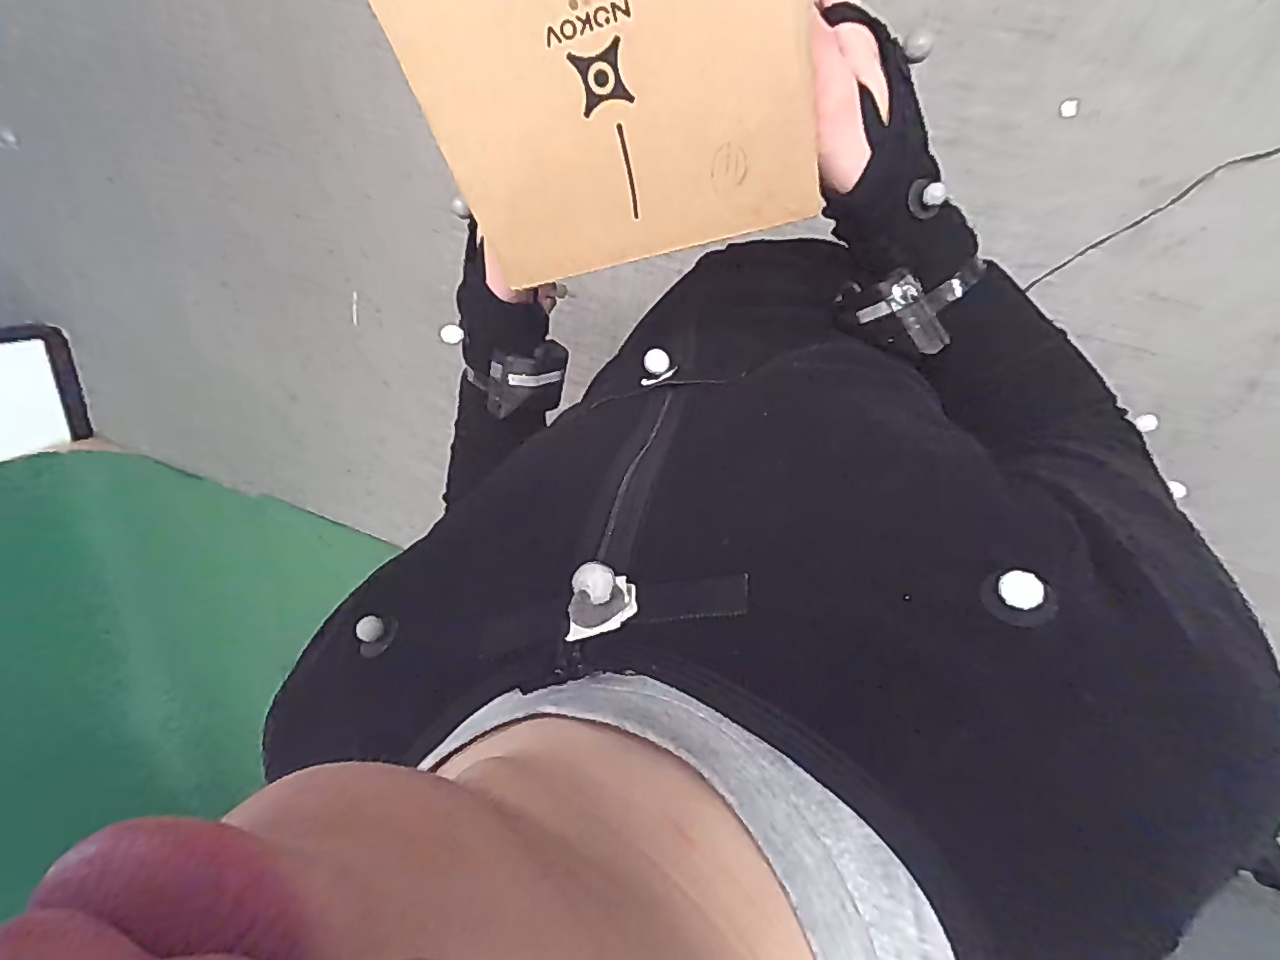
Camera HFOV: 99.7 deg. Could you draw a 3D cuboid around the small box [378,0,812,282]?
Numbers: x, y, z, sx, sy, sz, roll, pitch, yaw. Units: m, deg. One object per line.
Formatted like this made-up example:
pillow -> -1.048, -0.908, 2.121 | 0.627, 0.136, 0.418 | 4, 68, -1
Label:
small box -> -0.010, -0.236, 0.277 | 0.168, 0.176, 0.179 | -7, 136, 15
